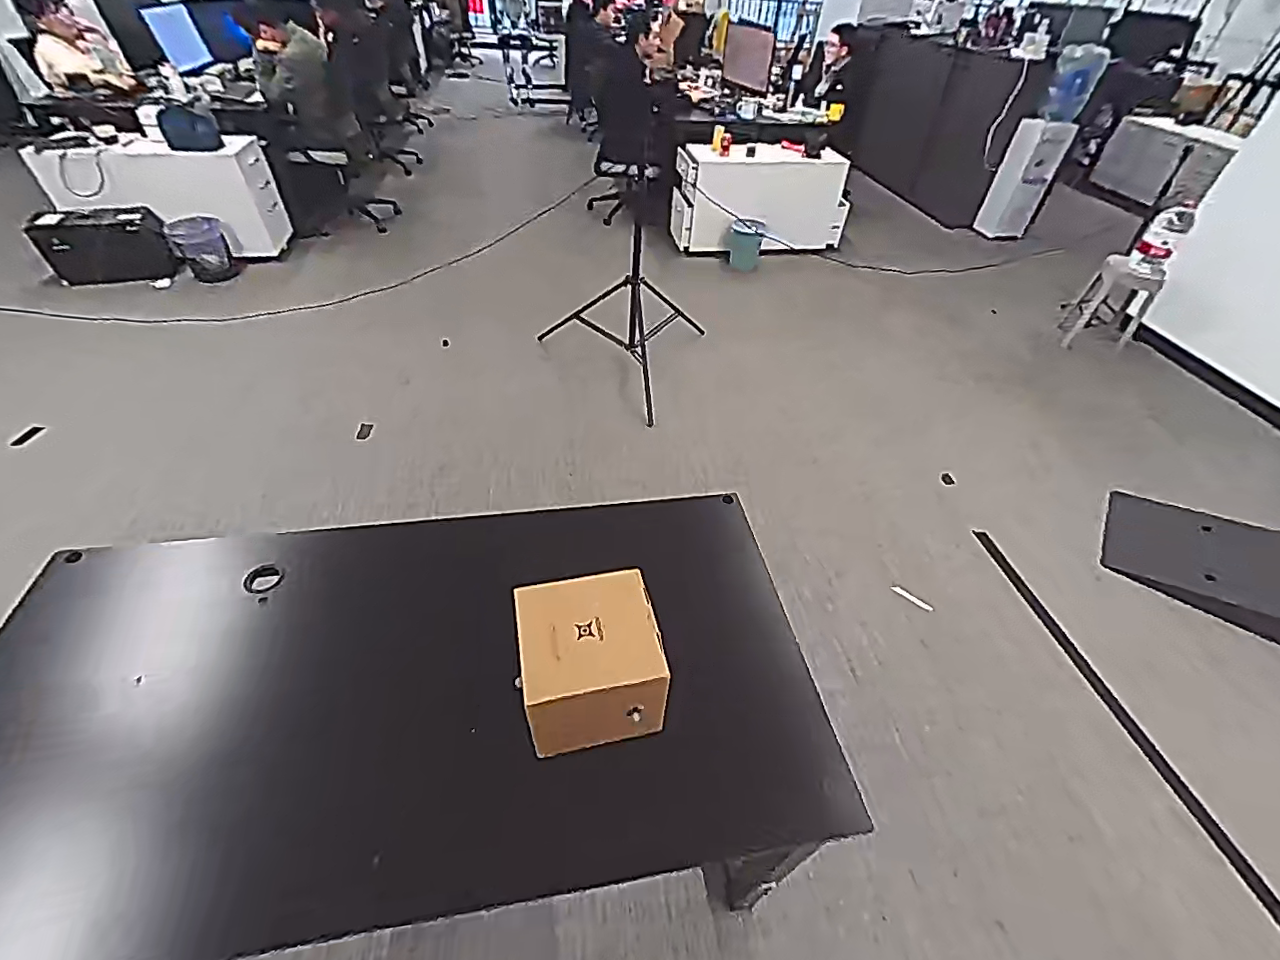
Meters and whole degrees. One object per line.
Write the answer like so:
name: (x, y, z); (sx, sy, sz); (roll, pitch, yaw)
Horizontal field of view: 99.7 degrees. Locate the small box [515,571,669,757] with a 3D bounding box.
small box: (-0.070, 0.253, 0.745); (0.179, 0.176, 0.168); (-9, 44, -11)
